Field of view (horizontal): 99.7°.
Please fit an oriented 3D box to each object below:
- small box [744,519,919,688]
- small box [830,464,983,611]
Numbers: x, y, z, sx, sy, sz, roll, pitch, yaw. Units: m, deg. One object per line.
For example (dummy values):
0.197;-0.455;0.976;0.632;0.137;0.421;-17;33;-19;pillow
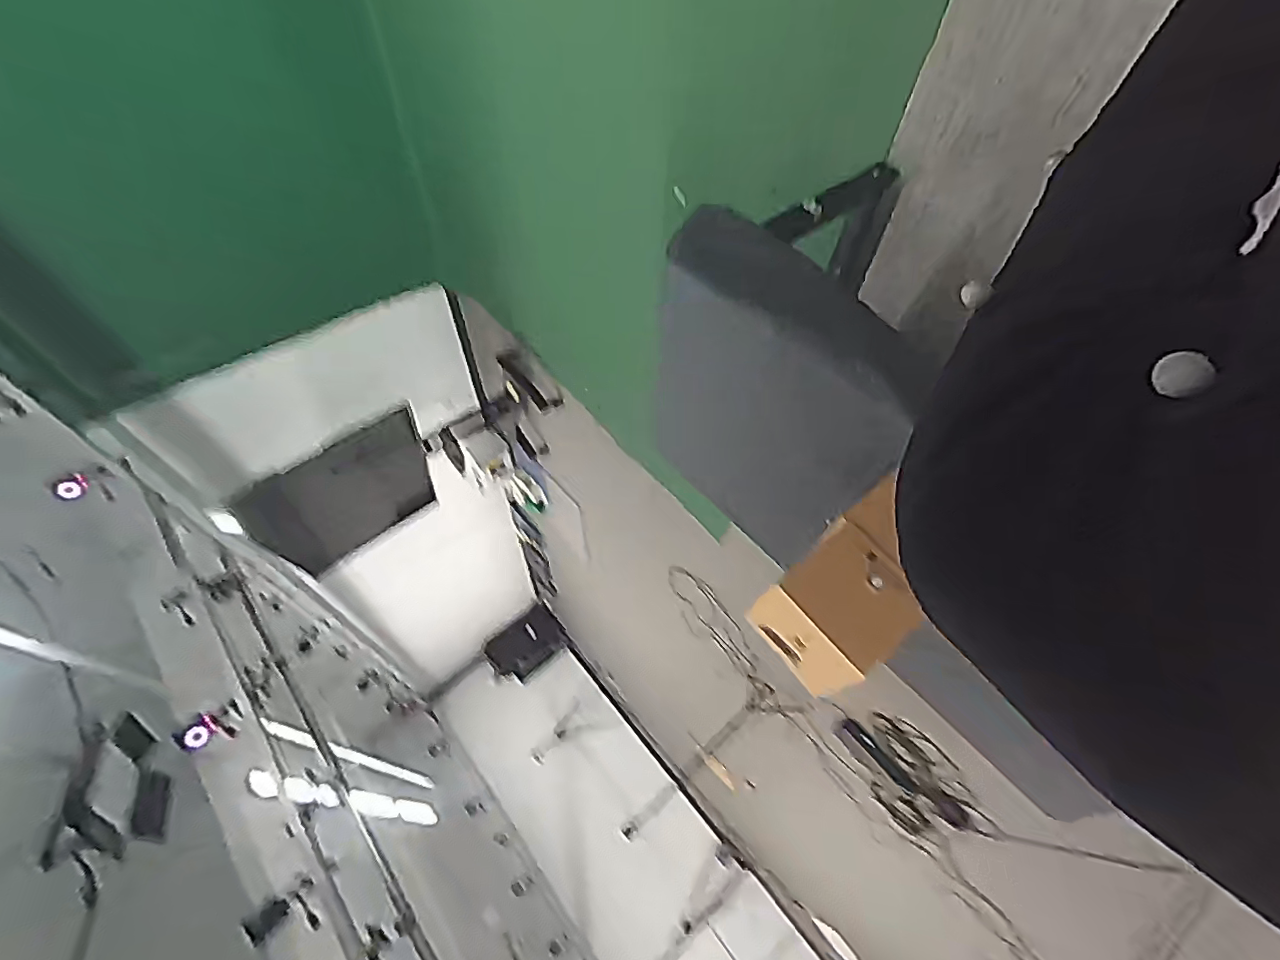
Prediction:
0.293;0.193;0.845;0.168;0.176;0.179;48;158;21;small box
0.420;0.106;0.902;0.179;0.176;0.168;47;156;21;small box
